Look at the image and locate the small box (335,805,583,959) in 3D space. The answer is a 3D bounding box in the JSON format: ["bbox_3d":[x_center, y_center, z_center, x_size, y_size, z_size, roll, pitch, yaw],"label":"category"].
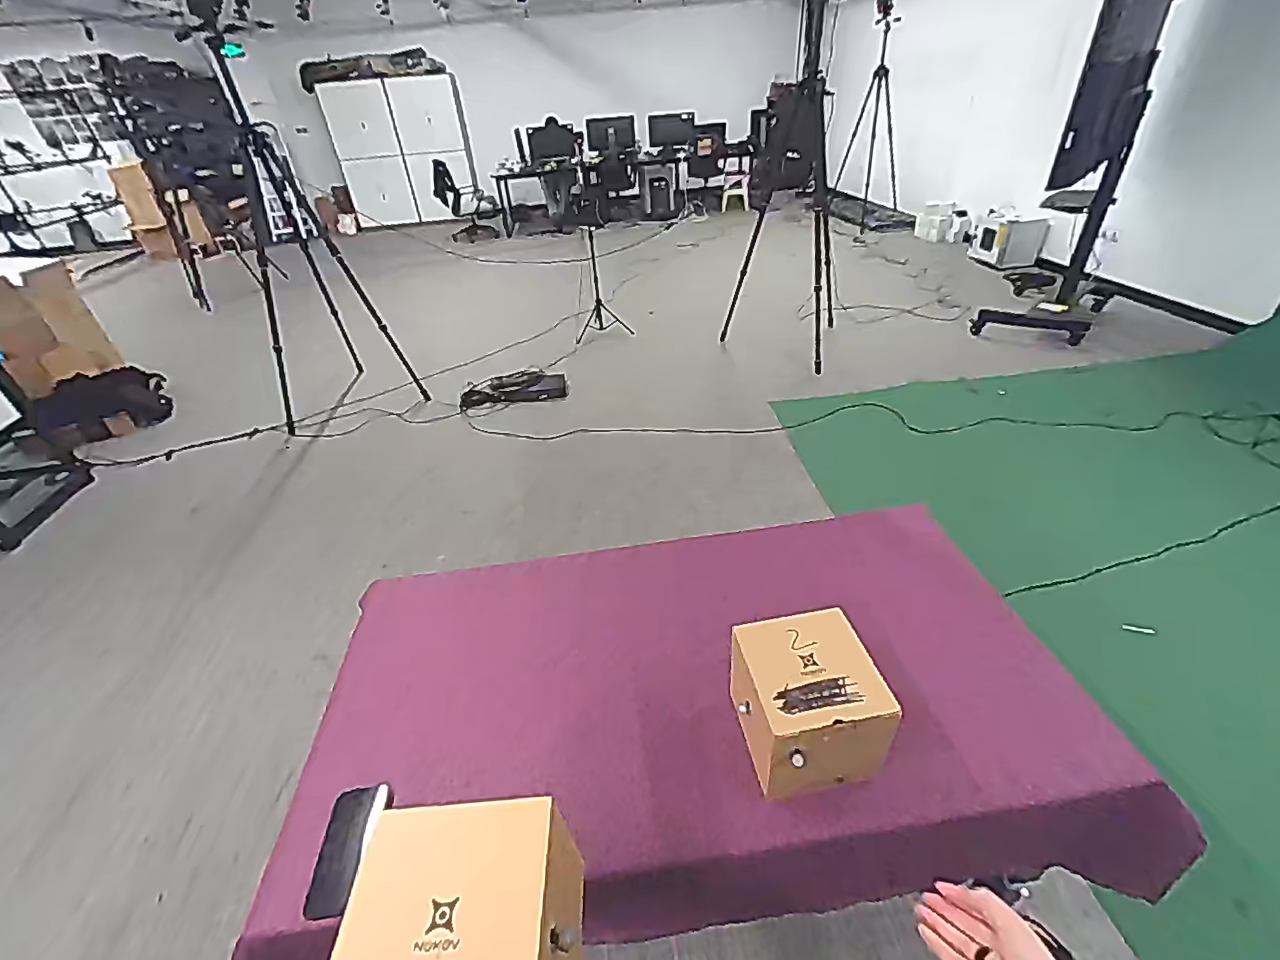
[{"bbox_3d":[-0.145,0.414,0.471,0.168,0.176,0.179,-5,39,2],"label":"small box"}]
